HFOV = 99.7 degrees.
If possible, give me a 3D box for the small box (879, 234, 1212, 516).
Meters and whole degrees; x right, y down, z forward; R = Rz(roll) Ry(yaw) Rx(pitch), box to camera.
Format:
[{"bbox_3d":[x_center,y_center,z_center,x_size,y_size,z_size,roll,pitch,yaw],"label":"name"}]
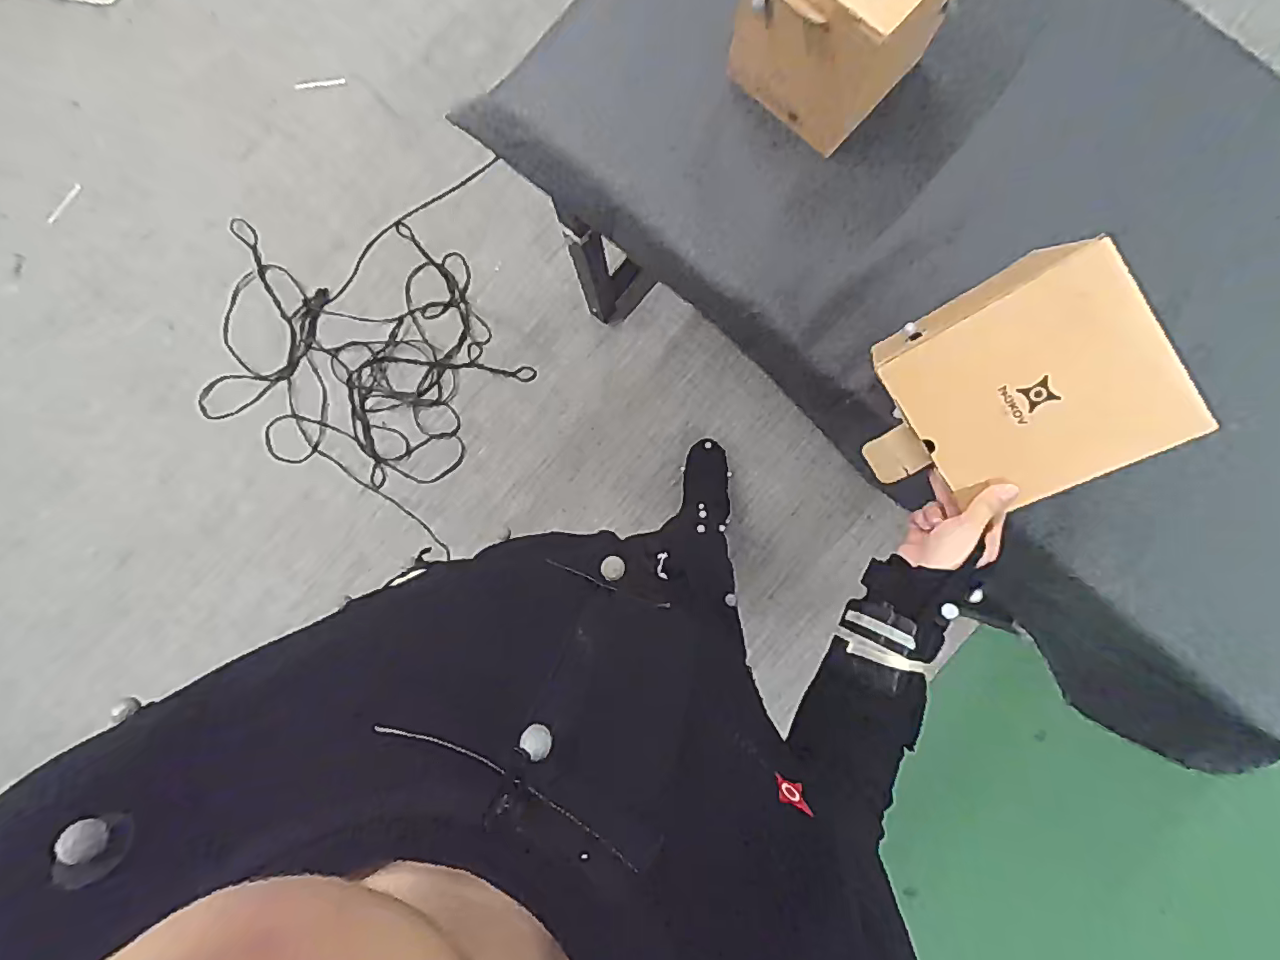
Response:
[{"bbox_3d":[0.343,-0.099,0.500,0.179,0.176,0.168,-31,96,29],"label":"small box"}]
